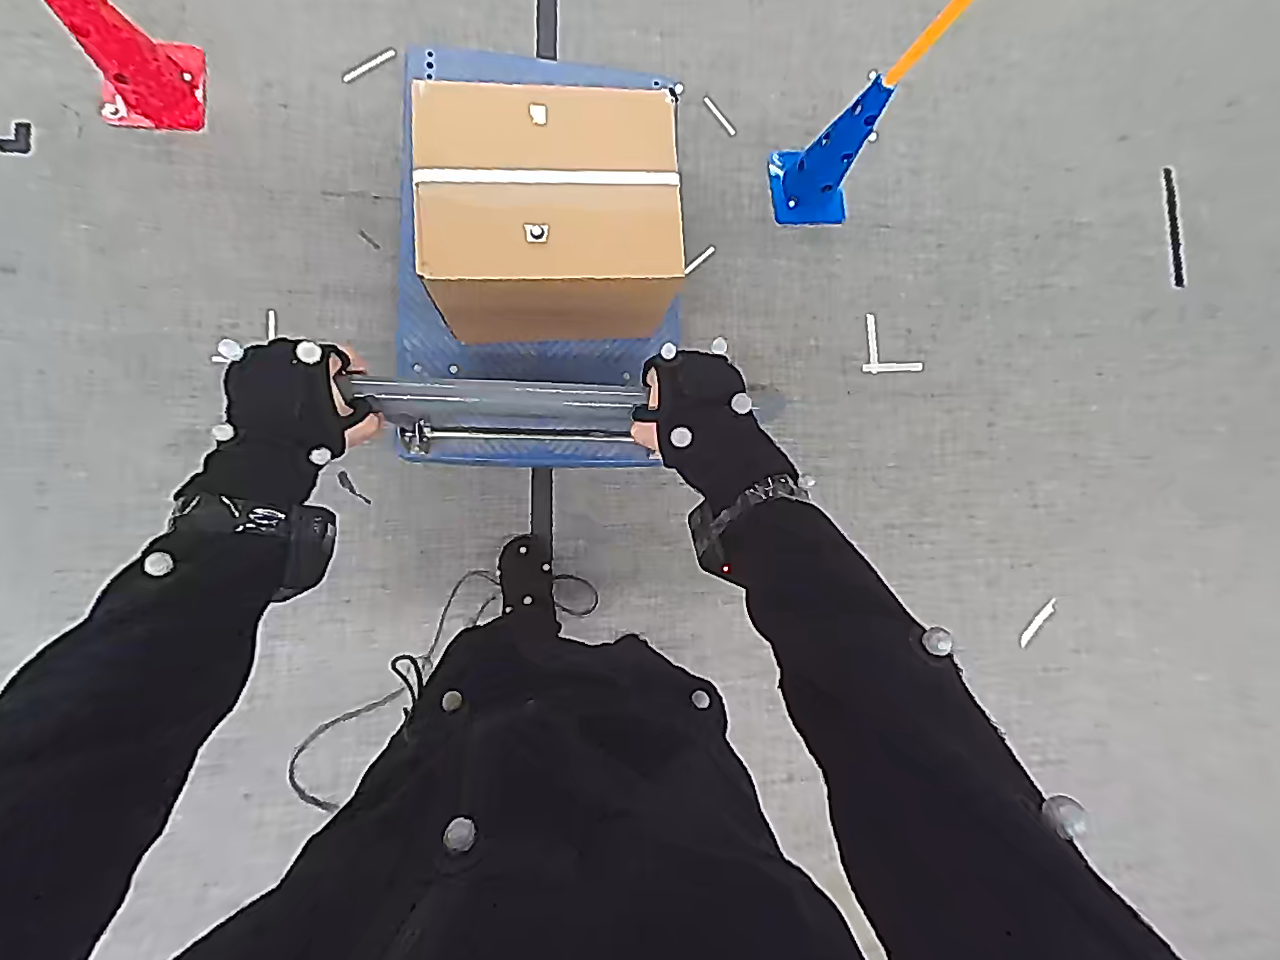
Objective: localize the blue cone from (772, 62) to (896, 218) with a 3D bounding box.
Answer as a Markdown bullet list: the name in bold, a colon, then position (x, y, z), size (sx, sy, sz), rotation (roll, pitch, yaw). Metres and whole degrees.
- **blue cone**: position (0.470, -0.793, 1.260), size (0.193, 0.380, 0.192), rotation (-4, 86, -9)
